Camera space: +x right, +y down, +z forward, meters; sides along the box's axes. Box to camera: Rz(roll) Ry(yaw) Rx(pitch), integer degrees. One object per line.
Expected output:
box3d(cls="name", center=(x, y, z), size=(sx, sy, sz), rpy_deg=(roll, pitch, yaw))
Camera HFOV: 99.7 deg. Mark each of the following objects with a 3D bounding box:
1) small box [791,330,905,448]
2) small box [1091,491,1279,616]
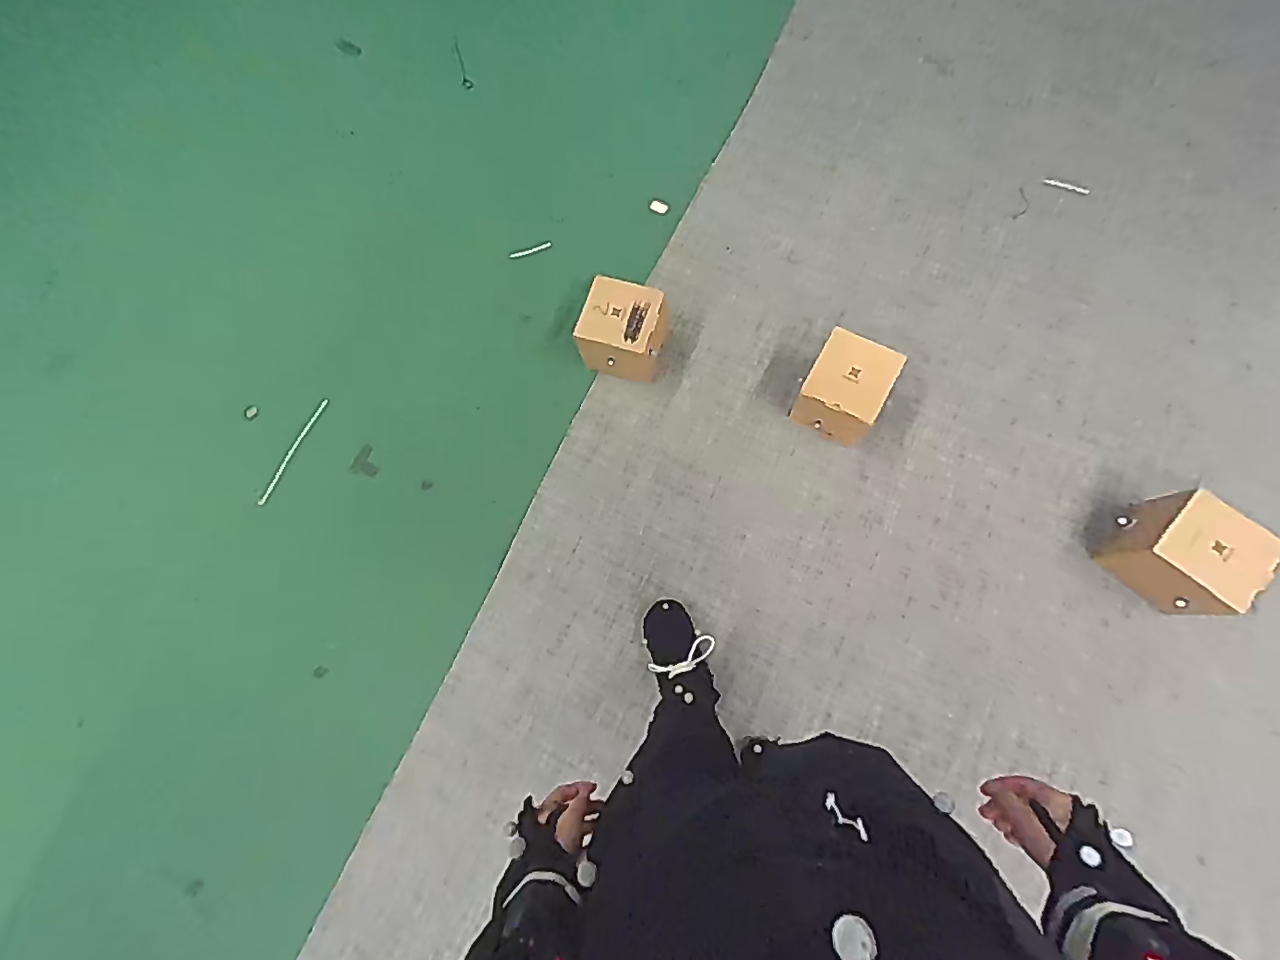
box3d(cls="small box", center=(0.461, -0.200, 1.227), size=(0.168, 0.176, 0.179), rpy_deg=(28, 81, 12))
box3d(cls="small box", center=(1.071, 0.151, 1.074), size=(0.179, 0.176, 0.168), rpy_deg=(41, 82, 15))
